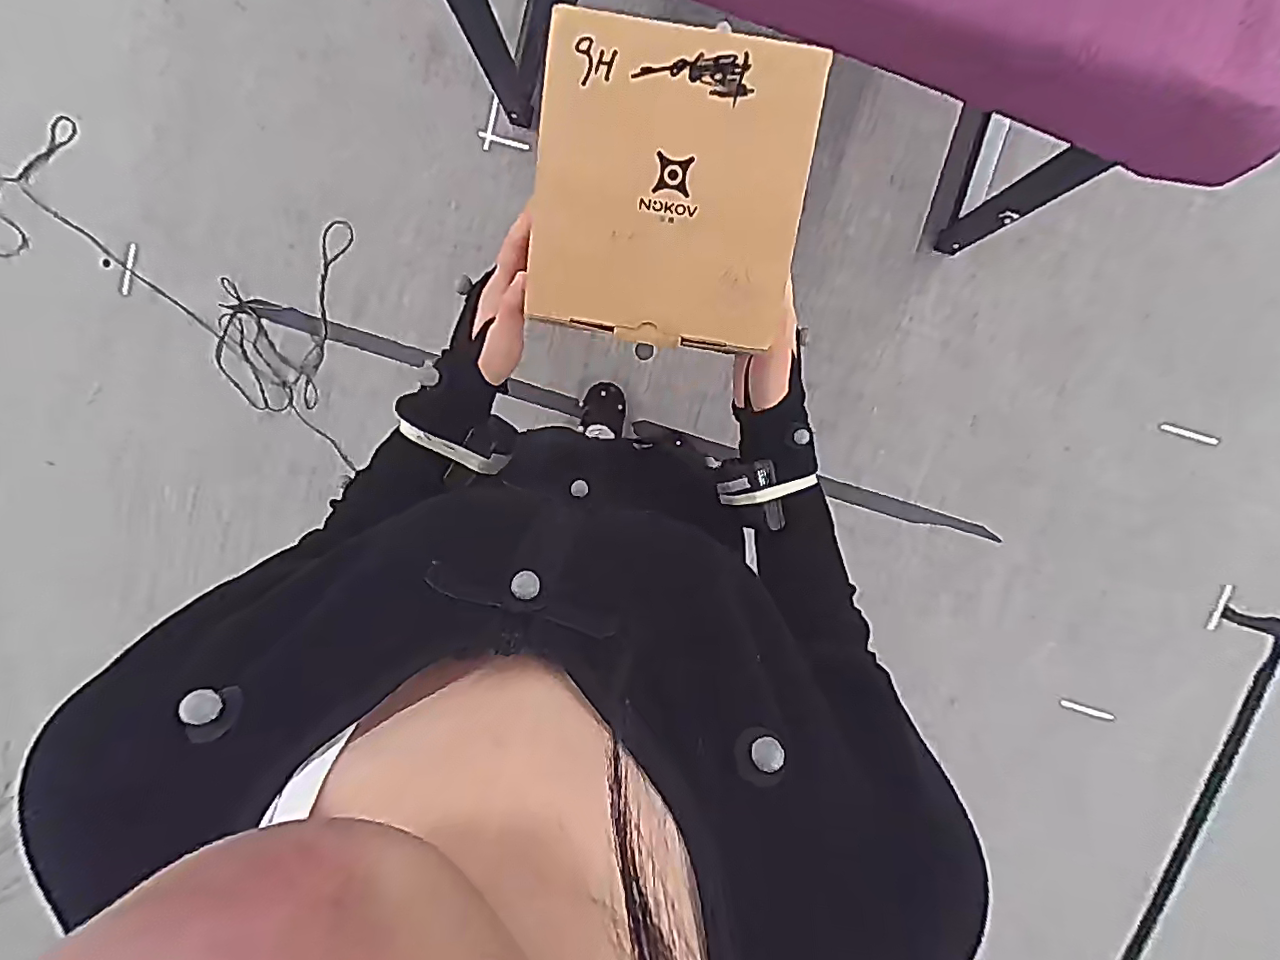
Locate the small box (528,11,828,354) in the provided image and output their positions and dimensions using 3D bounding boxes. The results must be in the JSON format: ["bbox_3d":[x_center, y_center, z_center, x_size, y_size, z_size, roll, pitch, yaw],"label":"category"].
[{"bbox_3d":[0.021,-0.199,0.415,0.168,0.176,0.179,9,104,-1],"label":"small box"}]
